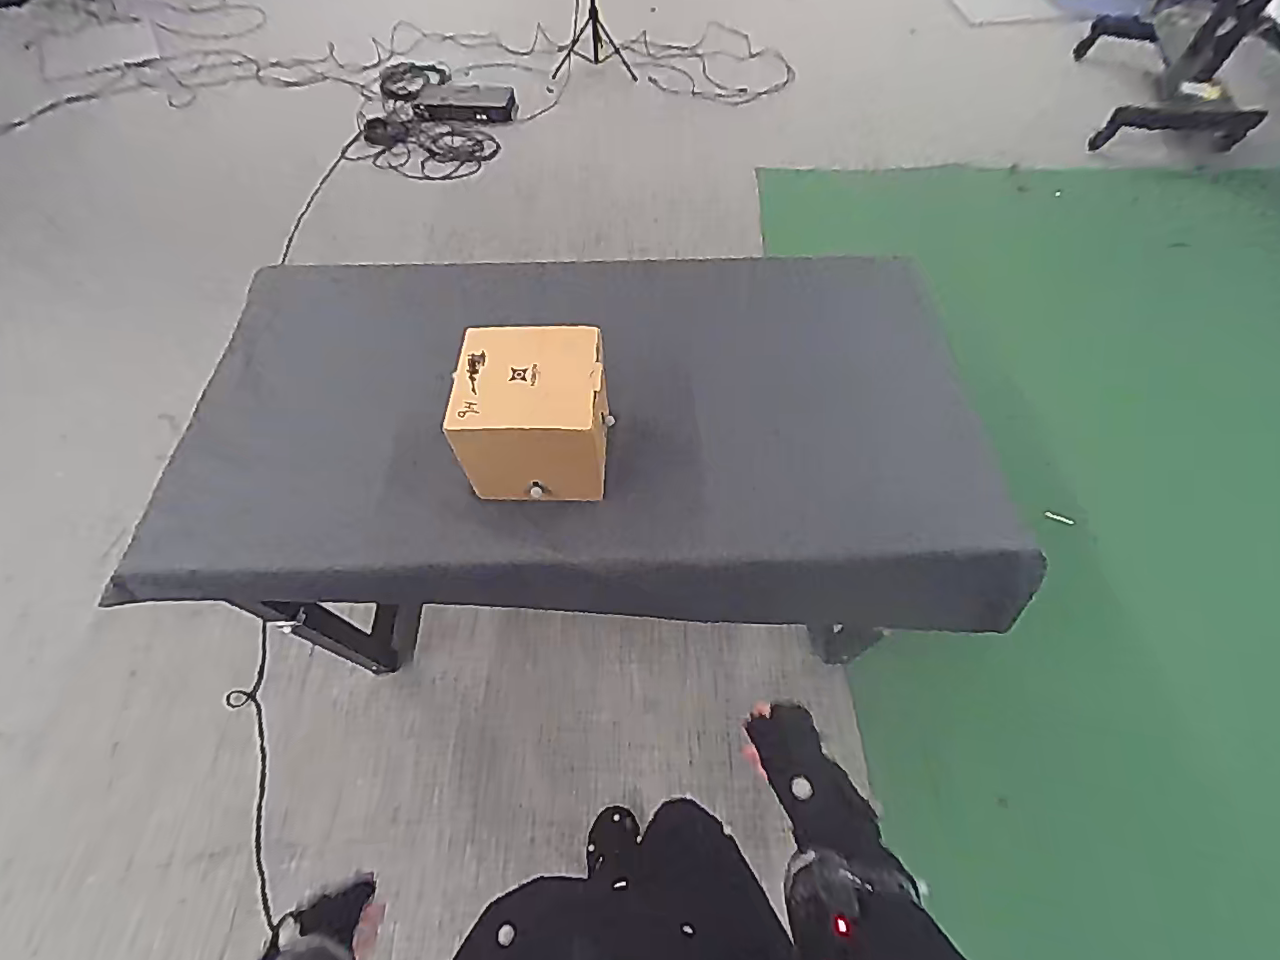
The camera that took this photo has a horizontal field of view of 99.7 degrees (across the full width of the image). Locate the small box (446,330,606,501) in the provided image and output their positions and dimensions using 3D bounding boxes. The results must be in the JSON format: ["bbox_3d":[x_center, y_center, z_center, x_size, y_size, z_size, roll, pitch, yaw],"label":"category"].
[{"bbox_3d":[-0.138,-0.081,0.733,0.179,0.176,0.168,0,58,0],"label":"small box"}]
